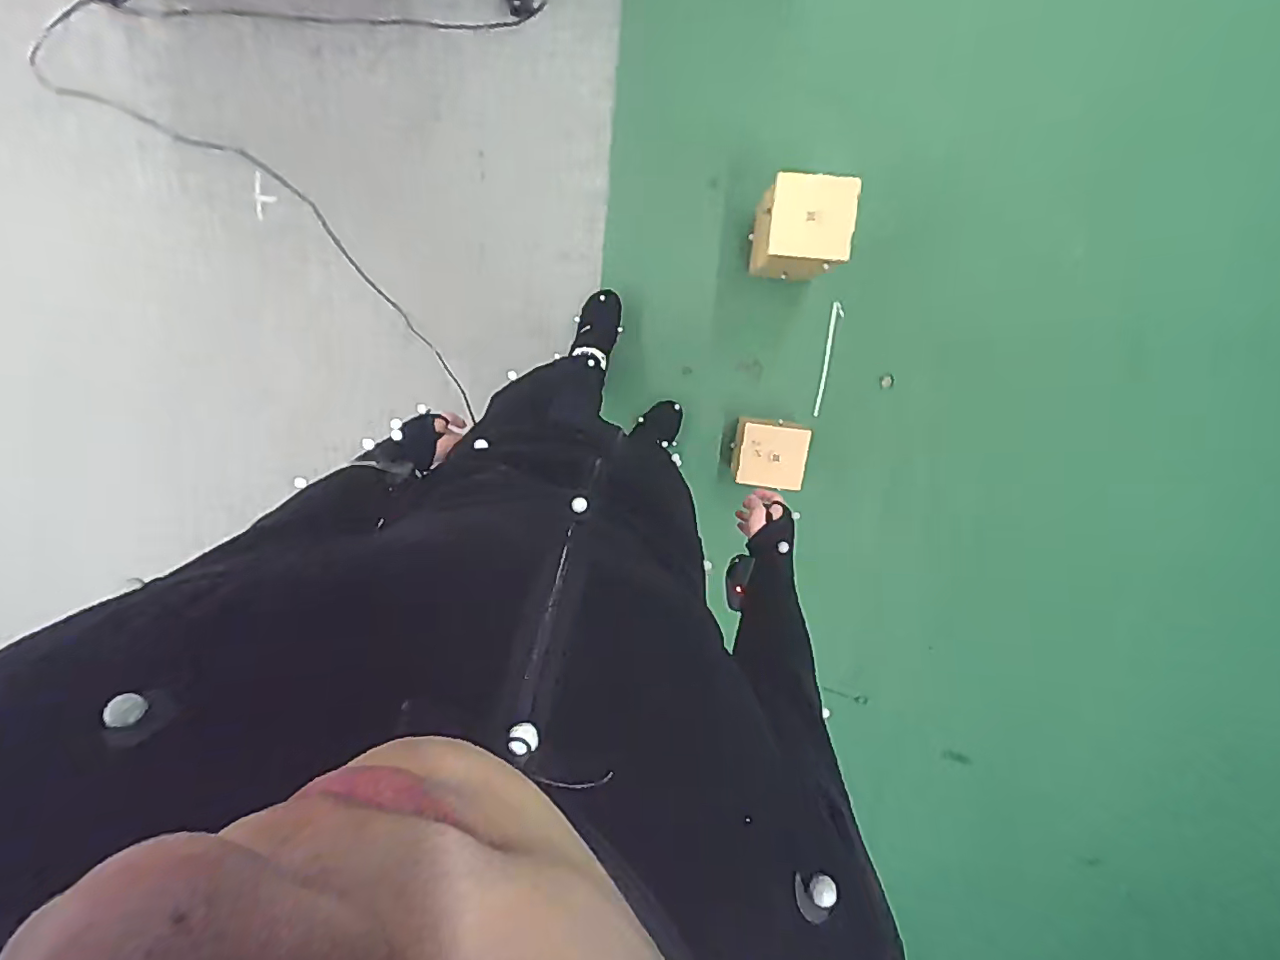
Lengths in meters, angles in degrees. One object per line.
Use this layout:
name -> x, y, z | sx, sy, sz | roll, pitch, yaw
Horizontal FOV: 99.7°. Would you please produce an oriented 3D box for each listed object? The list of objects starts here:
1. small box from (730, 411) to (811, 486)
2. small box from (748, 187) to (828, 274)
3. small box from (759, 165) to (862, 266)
small box -> 0.355, -0.094, 1.503 | 0.179, 0.176, 0.168 | 8, 104, 2
small box -> 0.383, -0.627, 1.374 | 0.179, 0.176, 0.168 | 6, 103, 3
small box -> 0.372, -0.587, 1.218 | 0.179, 0.176, 0.168 | 5, 103, 2
